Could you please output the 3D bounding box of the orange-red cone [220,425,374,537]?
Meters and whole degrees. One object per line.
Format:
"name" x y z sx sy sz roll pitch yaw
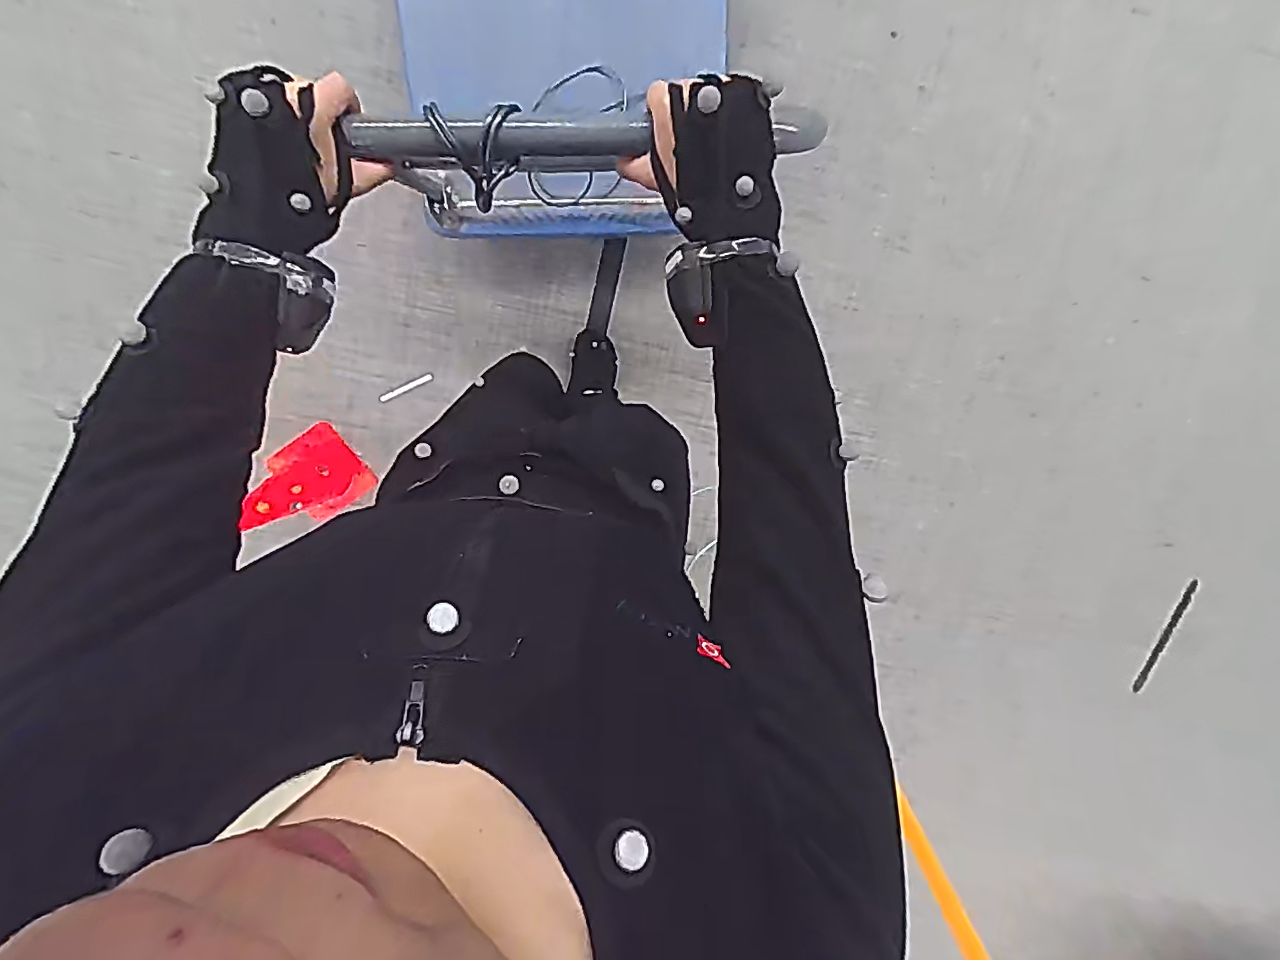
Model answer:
"orange-red cone" -0.773 0.035 1.169 0.199 0.360 0.198 -32 107 5
